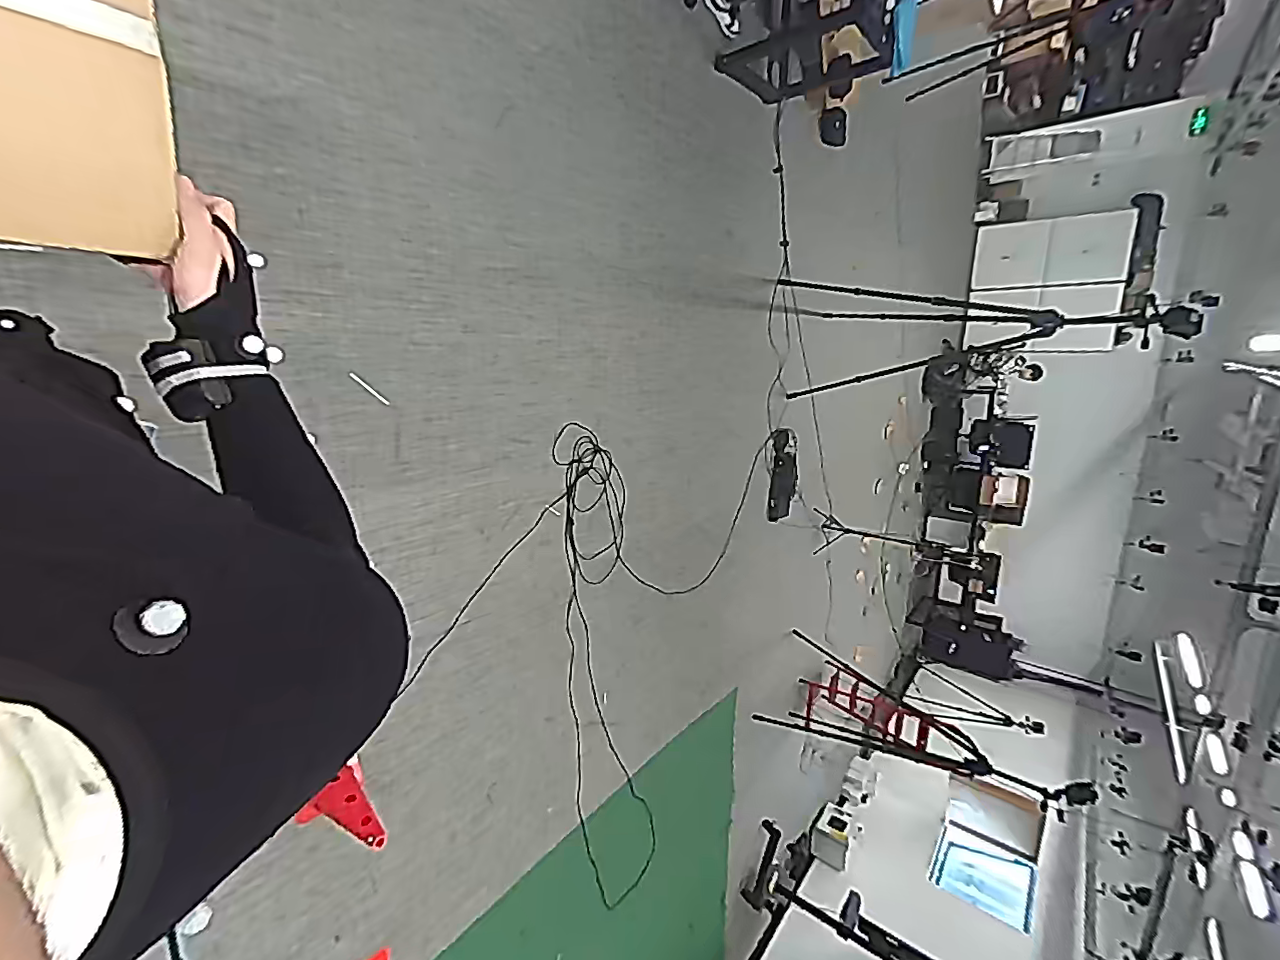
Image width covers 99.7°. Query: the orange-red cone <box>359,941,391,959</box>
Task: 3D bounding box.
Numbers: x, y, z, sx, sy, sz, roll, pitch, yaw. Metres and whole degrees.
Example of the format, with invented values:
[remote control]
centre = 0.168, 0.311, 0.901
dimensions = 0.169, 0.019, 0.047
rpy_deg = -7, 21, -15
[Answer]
[orange-red cone]
centre = -0.840, 1.785, 1.797
dimensions = 0.199, 0.360, 0.198
rpy_deg = -5, 103, -52
